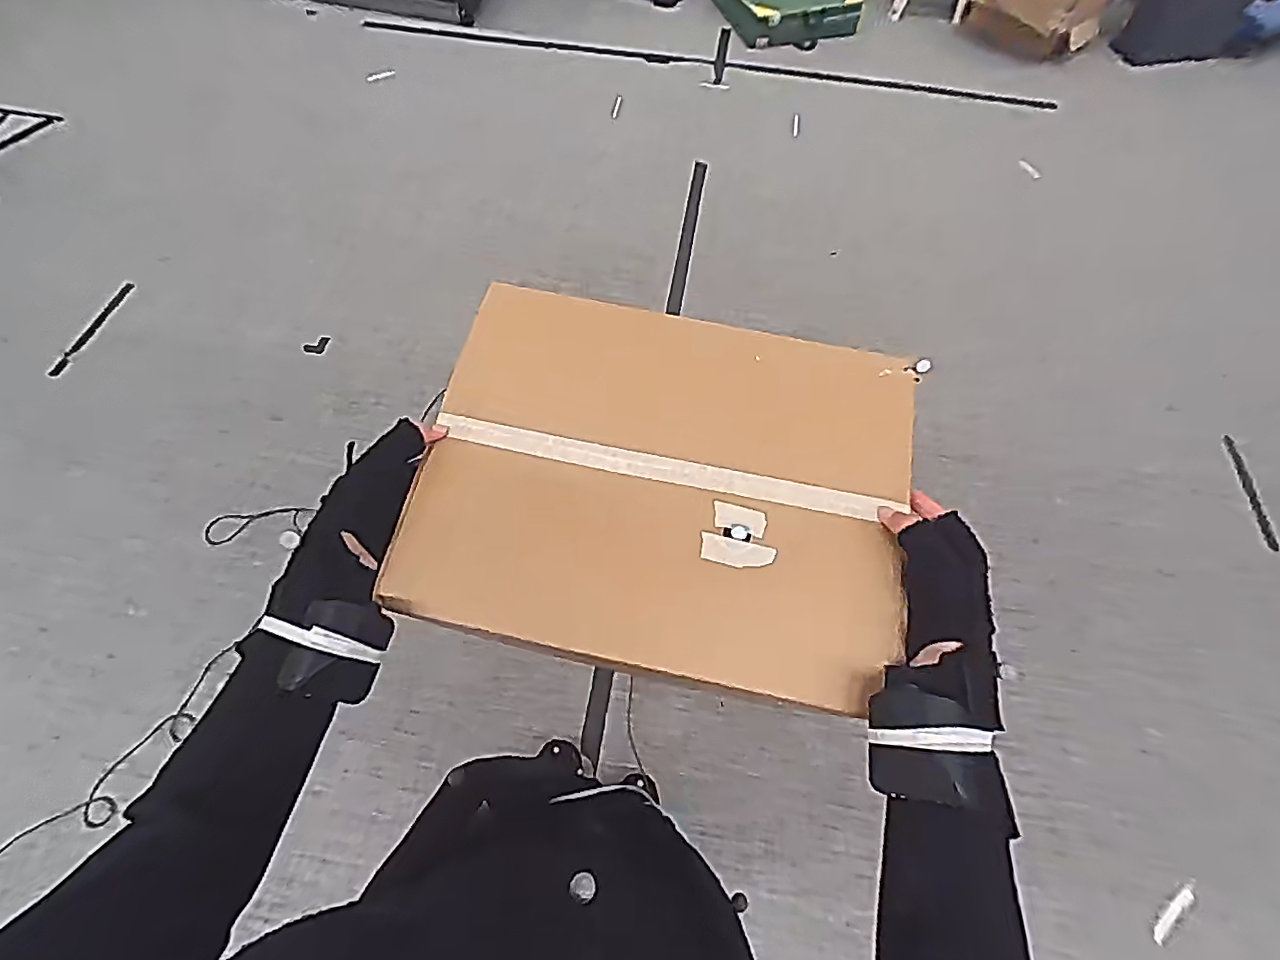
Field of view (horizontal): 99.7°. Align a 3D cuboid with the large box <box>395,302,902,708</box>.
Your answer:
[{"bbox_3d":[0.021,0.051,0.608,0.408,0.320,0.320,12,70,2],"label":"large box"}]
